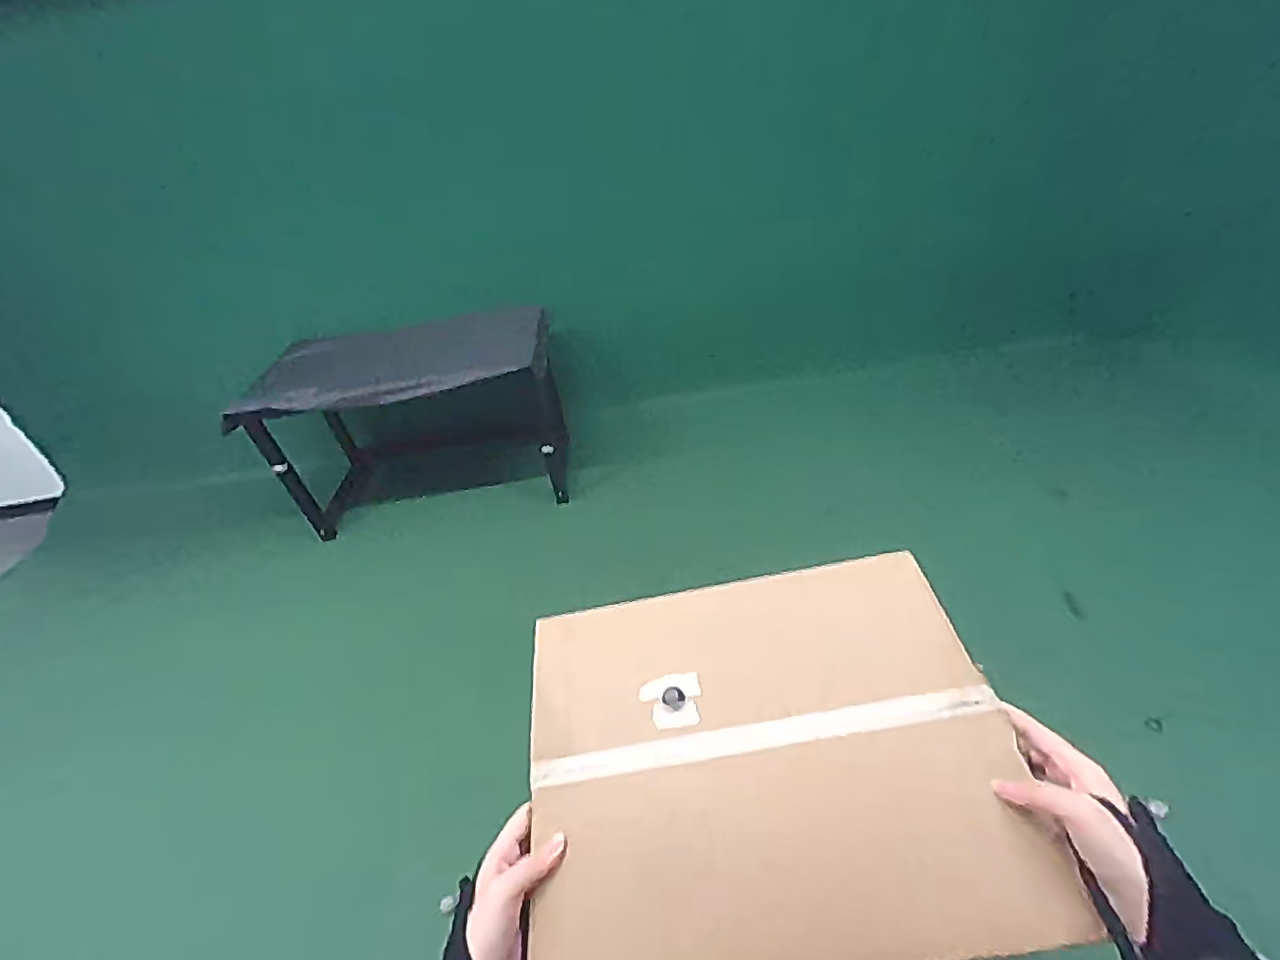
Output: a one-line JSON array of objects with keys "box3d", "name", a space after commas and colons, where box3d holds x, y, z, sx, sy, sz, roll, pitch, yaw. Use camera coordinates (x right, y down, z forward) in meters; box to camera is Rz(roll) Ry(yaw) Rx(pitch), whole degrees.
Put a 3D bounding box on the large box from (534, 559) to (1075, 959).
[{"box3d": [0.129, 0.333, 0.598, 0.408, 0.320, 0.320, -13, 47, 5], "name": "large box"}]
